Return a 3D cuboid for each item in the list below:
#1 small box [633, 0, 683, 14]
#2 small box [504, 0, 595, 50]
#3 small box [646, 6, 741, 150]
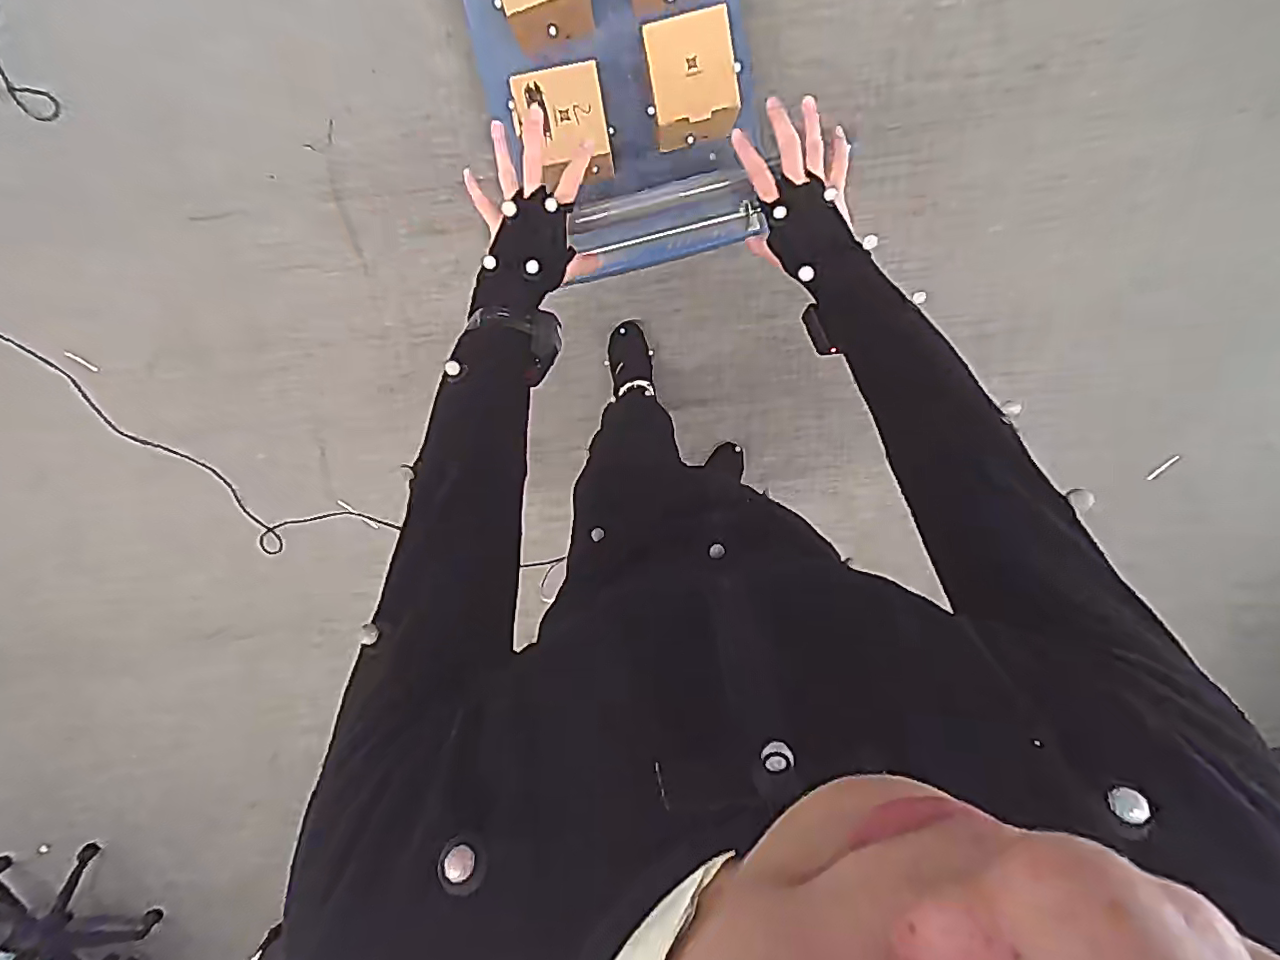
[{"bbox_3d":[0.044,-1.087,1.069,0.168,0.176,0.179,-15,106,7],"label":"small box"},{"bbox_3d":[-0.196,-1.017,1.095,0.168,0.176,0.179,-16,104,5],"label":"small box"},{"bbox_3d":[0.107,-0.834,1.139,0.168,0.176,0.179,-12,105,4],"label":"small box"}]
